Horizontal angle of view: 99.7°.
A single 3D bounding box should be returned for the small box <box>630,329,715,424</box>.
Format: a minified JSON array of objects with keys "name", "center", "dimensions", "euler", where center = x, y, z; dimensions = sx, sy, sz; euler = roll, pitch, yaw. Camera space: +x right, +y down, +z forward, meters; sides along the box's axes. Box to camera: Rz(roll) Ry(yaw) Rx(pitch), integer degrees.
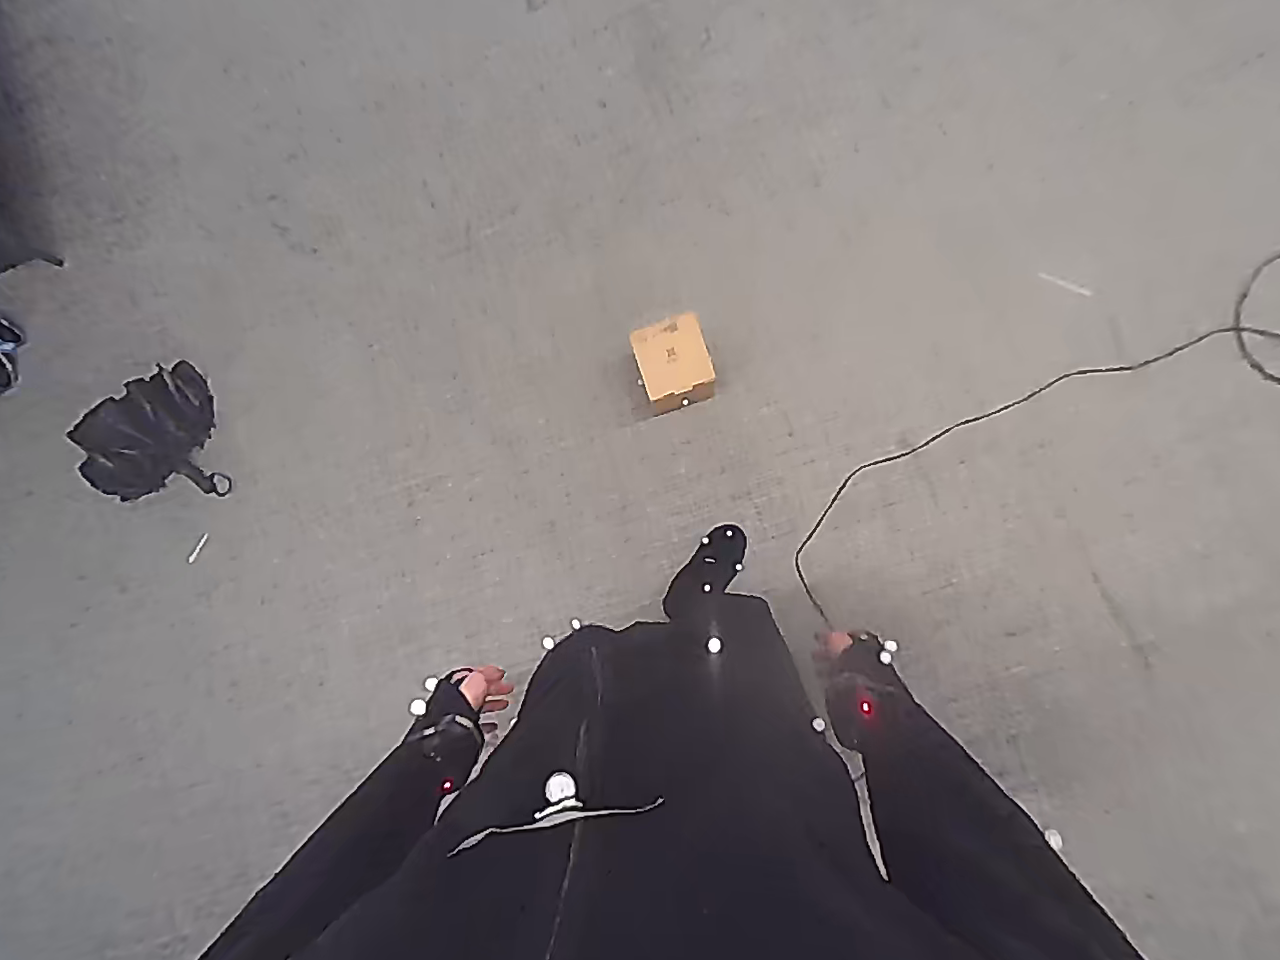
[{"name":"small box","center":[0.087,-0.250,1.370],"dimensions":[0.168,0.176,0.179],"euler":[-19,83,4]}]
